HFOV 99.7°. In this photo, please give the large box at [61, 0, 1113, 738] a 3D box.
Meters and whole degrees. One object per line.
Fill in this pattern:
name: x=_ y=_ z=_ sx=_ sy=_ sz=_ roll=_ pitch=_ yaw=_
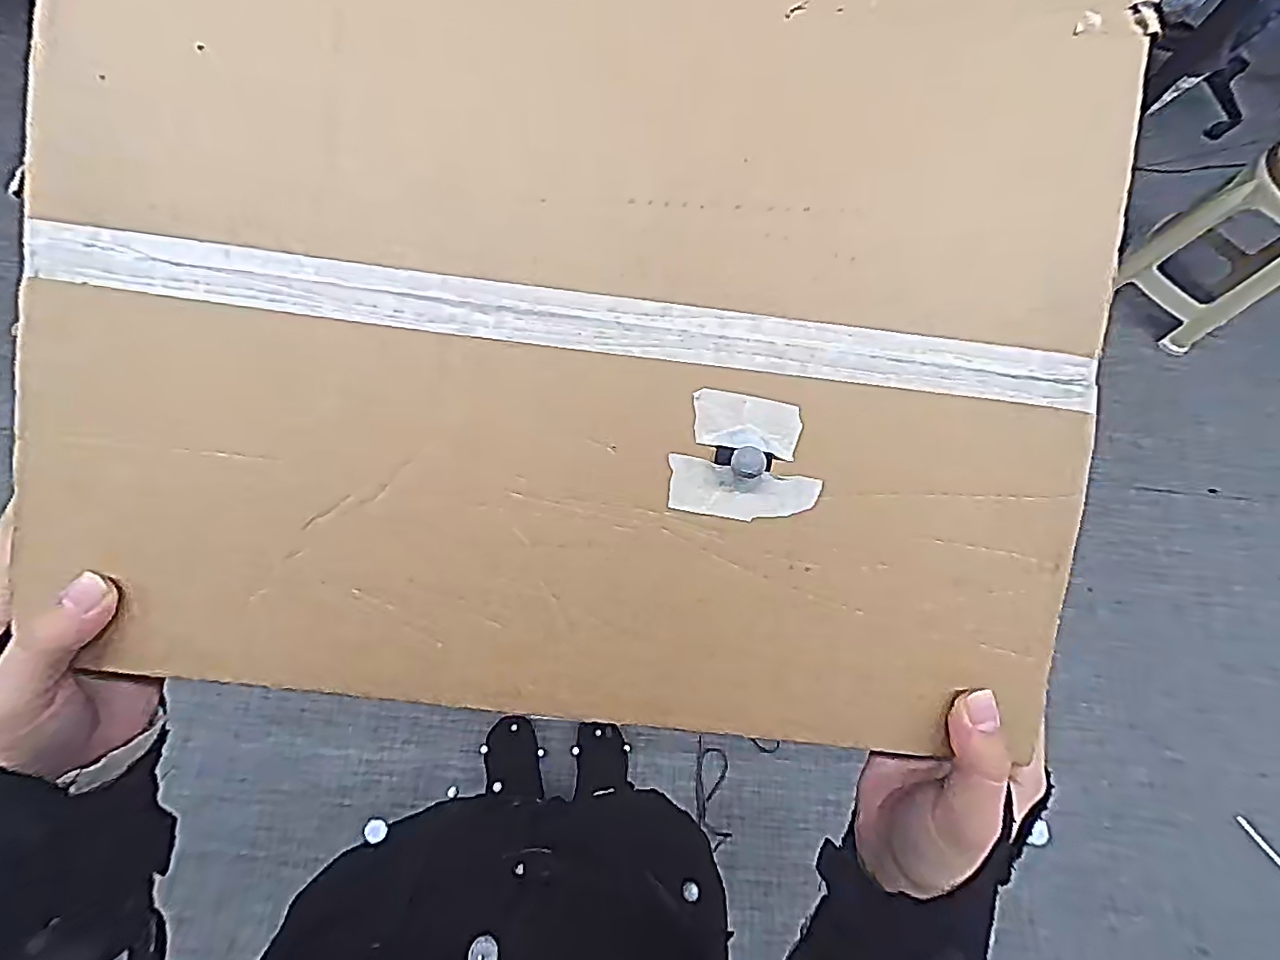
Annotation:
large box: x=-0.025 y=-0.065 z=0.367 sx=0.408 sy=0.320 sz=0.320 roll=7 pitch=94 yaw=-3
